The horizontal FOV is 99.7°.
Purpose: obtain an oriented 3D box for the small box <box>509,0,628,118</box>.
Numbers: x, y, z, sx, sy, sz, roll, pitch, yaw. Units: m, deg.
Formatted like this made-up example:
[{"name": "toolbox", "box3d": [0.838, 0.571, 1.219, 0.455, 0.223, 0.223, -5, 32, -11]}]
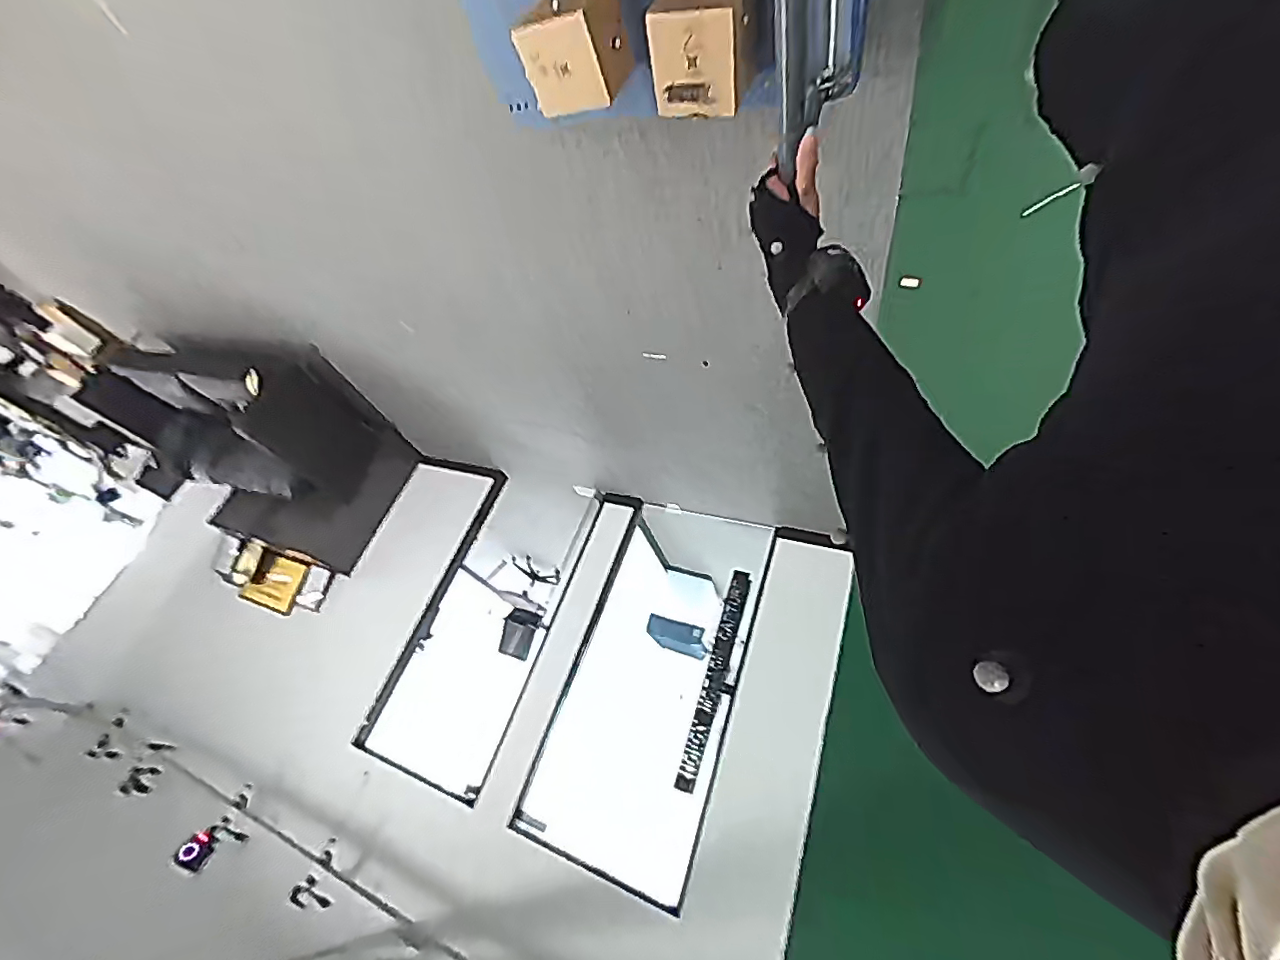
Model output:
[{"name": "small box", "box3d": [-0.139, -0.912, 1.147, 0.179, 0.176, 0.168, 9, 151, 25]}]
